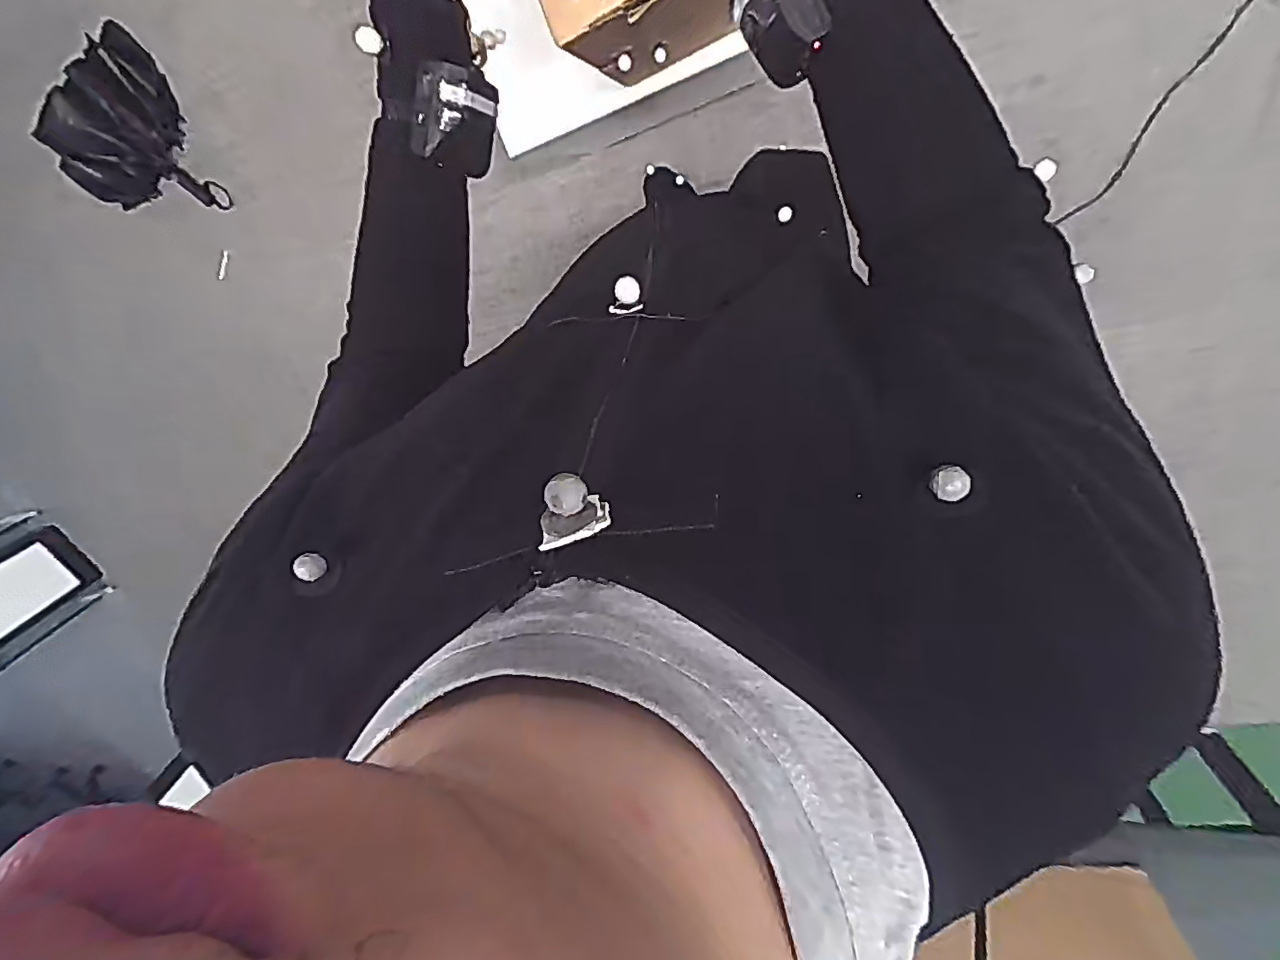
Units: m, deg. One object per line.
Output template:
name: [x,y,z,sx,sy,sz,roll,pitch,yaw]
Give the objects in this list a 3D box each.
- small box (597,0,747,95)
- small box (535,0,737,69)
small box: [0.011,-0.562,0.593,0.168,0.176,0.179,-17,116,19]
small box: [-0.014,-0.480,0.451,0.168,0.176,0.179,-16,115,18]
